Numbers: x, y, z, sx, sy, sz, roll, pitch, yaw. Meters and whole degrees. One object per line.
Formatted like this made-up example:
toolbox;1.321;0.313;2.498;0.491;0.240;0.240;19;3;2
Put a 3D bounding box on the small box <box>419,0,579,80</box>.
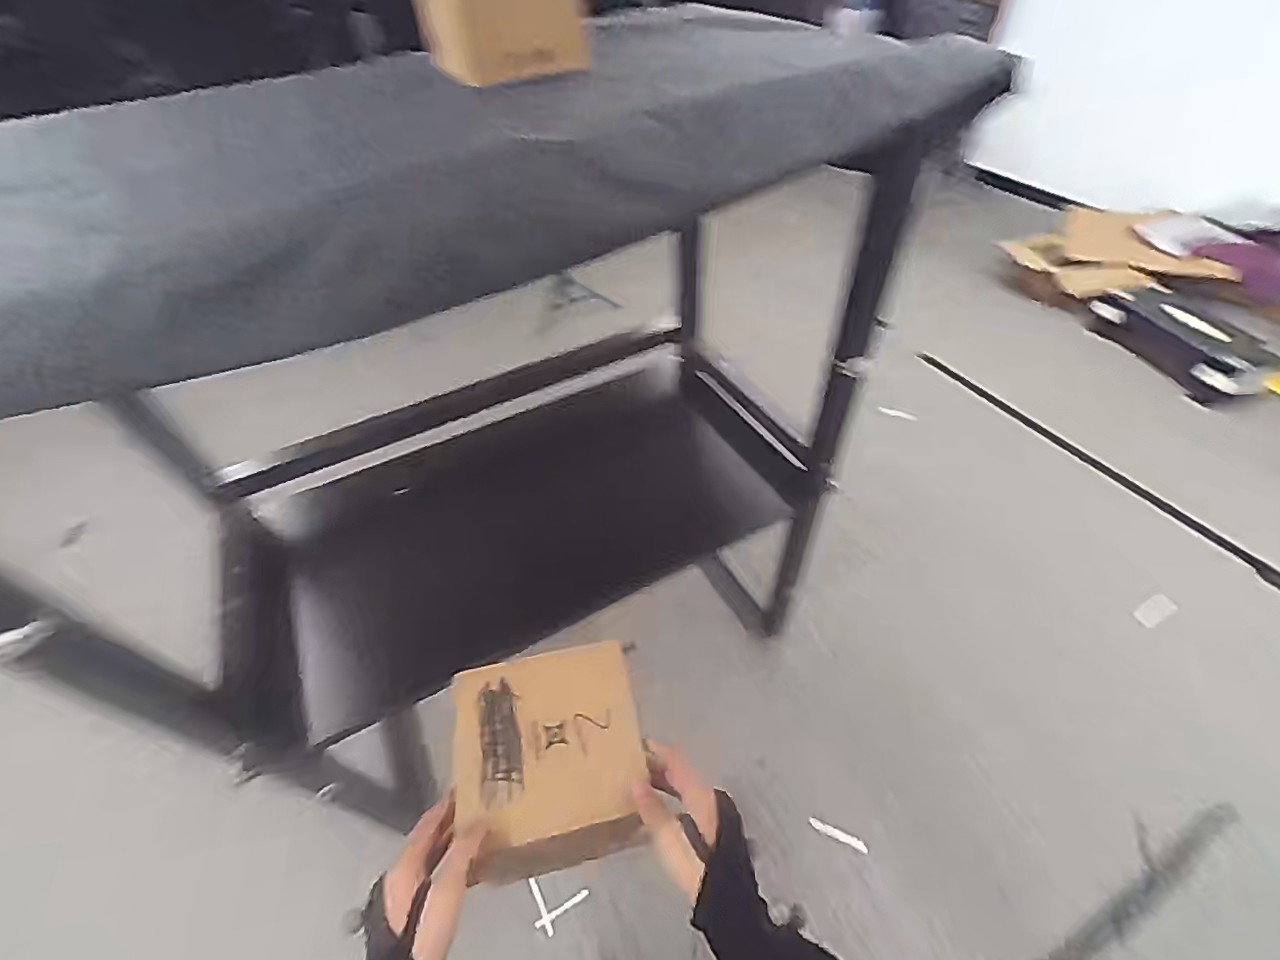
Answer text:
small box;-0.195;-0.643;0.704;0.168;0.176;0.179;-25;51;-17
